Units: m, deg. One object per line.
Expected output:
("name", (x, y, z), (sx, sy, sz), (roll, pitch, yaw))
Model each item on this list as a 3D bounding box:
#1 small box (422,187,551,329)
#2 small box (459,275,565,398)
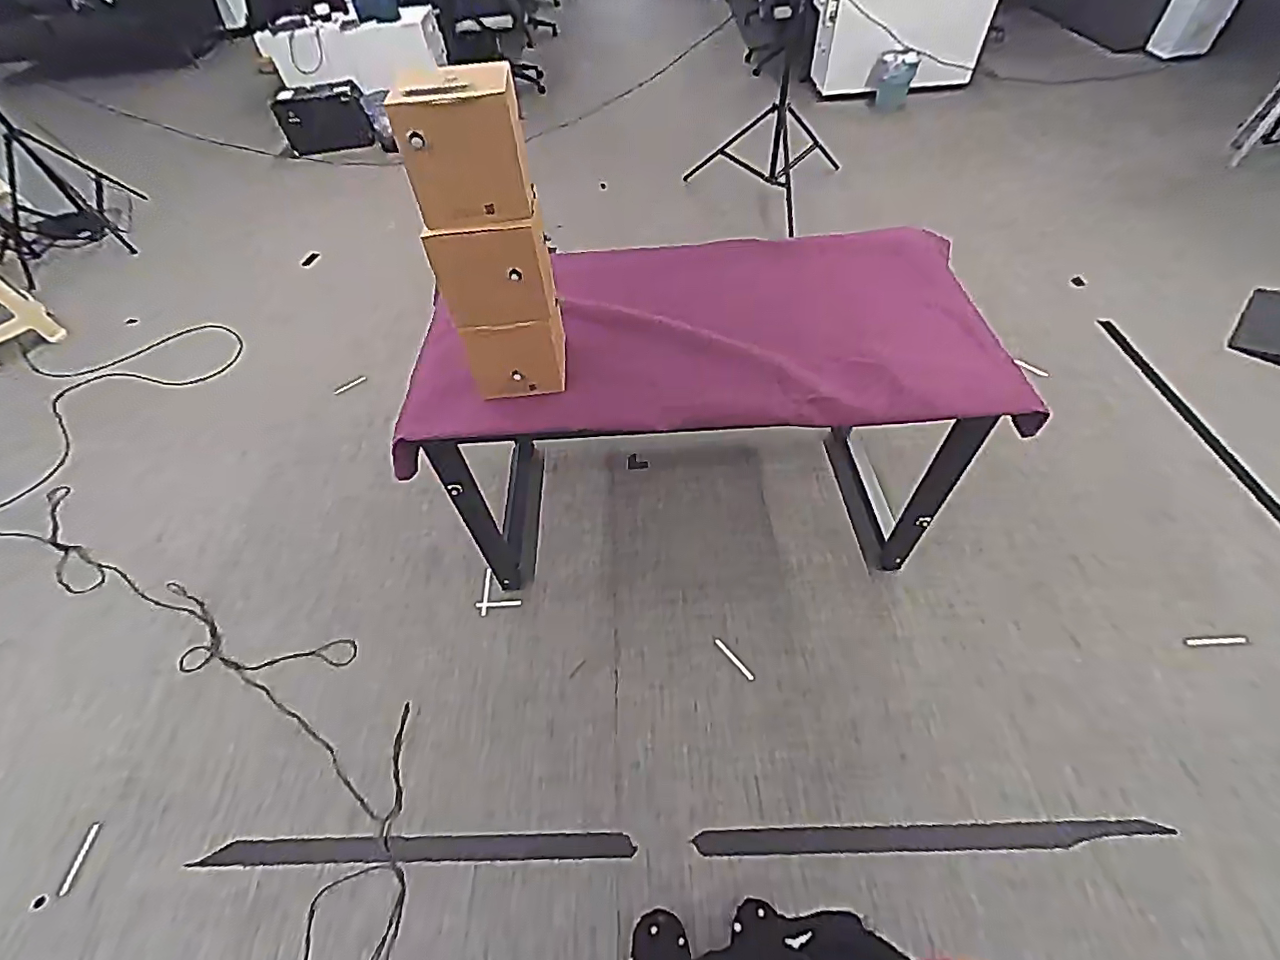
("small box", (-0.256, -0.387, 0.951), (0.179, 0.176, 0.168), (-7, 50, -1))
("small box", (-0.245, -0.286, 1.078), (0.168, 0.176, 0.179), (-6, 52, 0))
